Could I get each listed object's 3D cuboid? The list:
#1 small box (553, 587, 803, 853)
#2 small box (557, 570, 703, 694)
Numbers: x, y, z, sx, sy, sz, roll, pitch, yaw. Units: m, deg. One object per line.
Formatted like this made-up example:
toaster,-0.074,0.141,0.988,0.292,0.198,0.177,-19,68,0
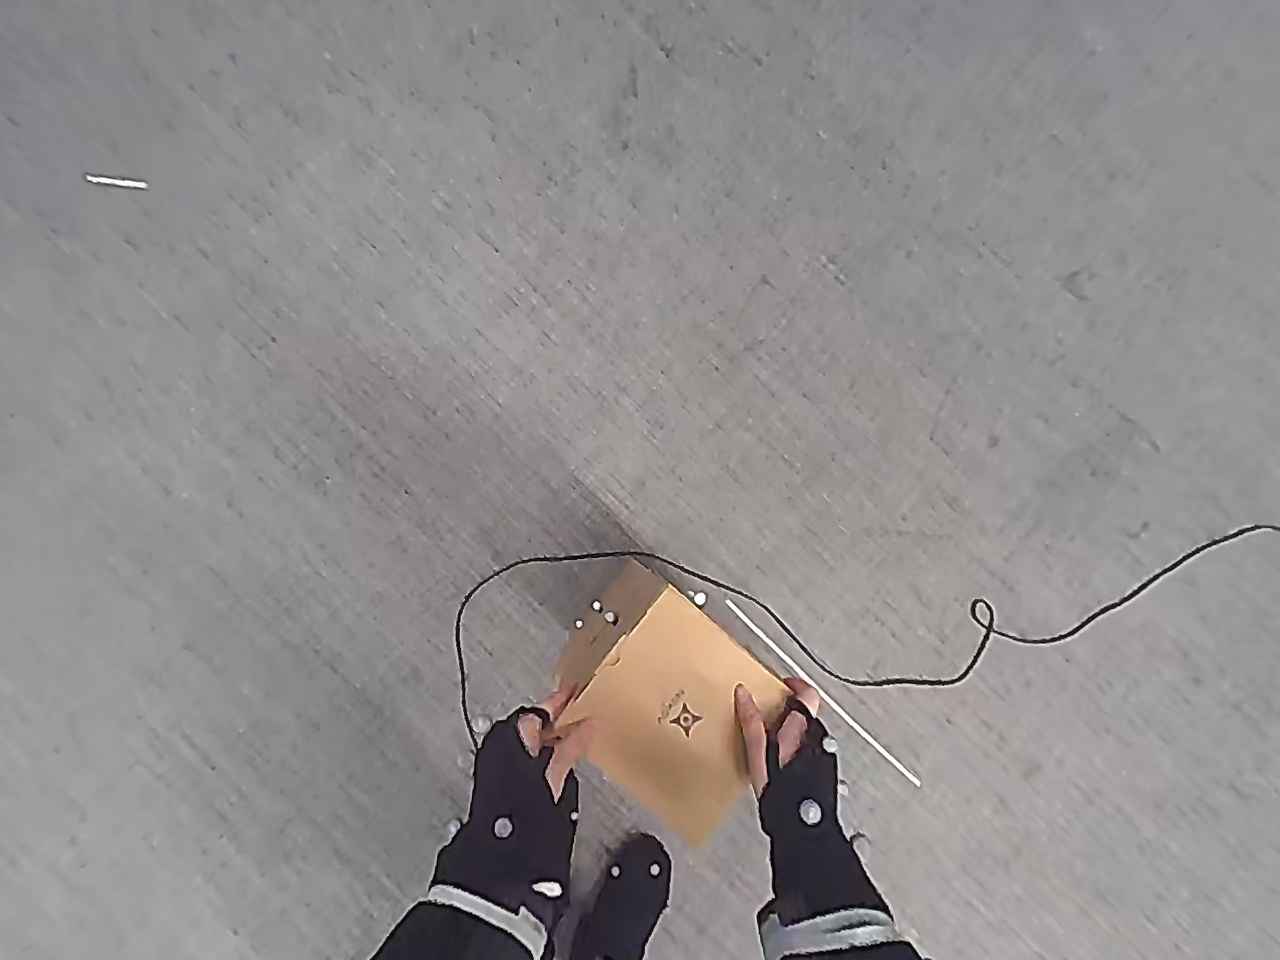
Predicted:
small box,0.034,0.230,0.577,0.179,0.176,0.168,39,84,2
small box,0.011,0.242,0.739,0.168,0.176,0.179,39,83,1
